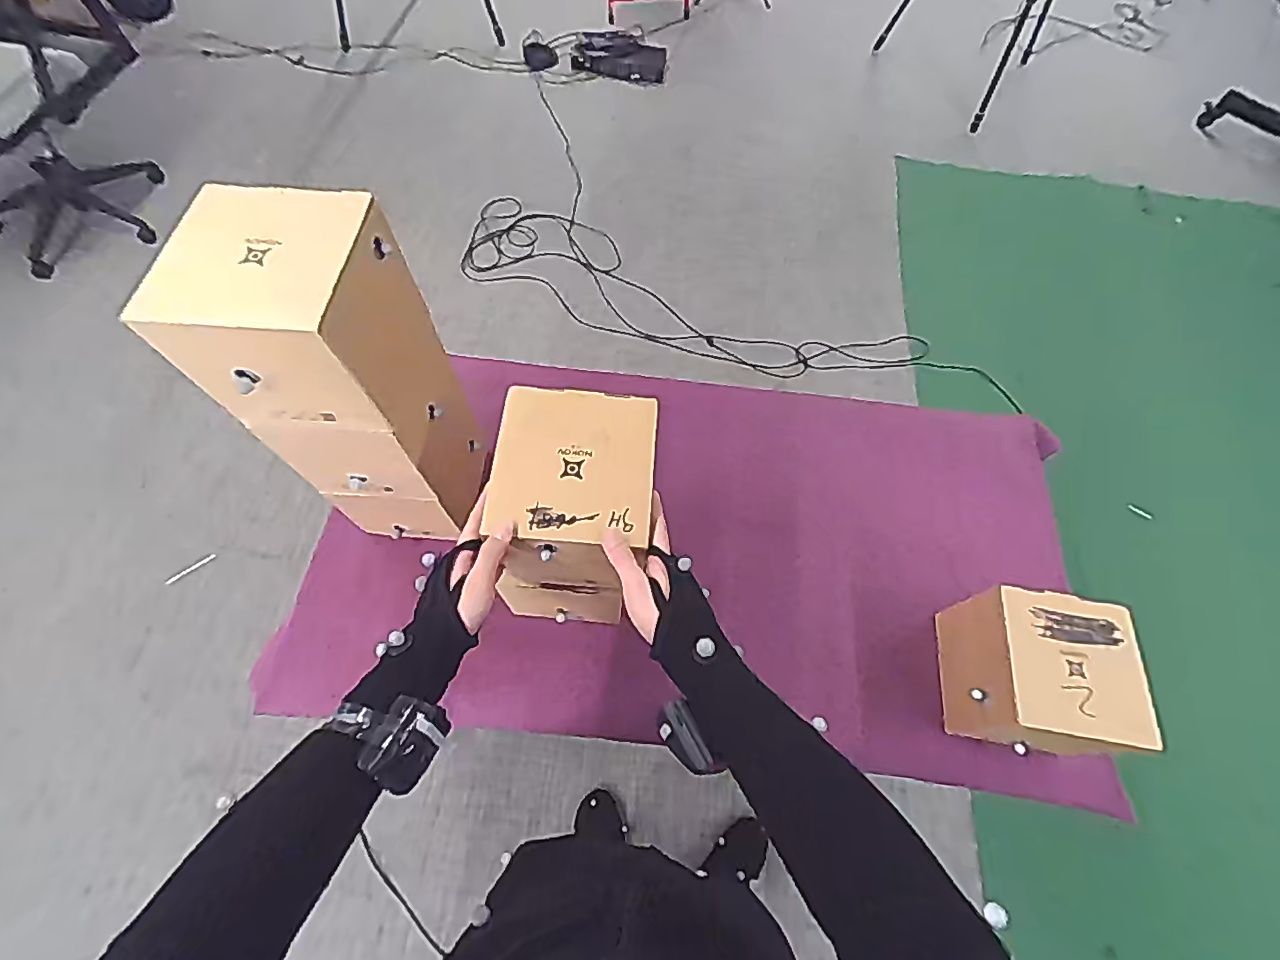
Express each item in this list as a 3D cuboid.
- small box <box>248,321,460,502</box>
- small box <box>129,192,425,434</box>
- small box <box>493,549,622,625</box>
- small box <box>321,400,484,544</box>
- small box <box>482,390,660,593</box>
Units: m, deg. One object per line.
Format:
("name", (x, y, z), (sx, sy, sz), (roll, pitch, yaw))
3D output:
("small box", (-0.347, -0.090, 0.701), (0.168, 0.176, 0.179), (4, 63, 0))
("small box", (-0.342, -0.163, 0.557), (0.168, 0.176, 0.179), (3, 63, 0))
("small box", (-0.103, 0.102, 0.797), (0.168, 0.176, 0.179), (5, 63, 1))
("small box", (-0.353, -0.015, 0.847), (0.168, 0.176, 0.179), (4, 64, 0))
("small box", (-0.069, 0.020, 0.629), (0.168, 0.176, 0.179), (5, 65, 0))
